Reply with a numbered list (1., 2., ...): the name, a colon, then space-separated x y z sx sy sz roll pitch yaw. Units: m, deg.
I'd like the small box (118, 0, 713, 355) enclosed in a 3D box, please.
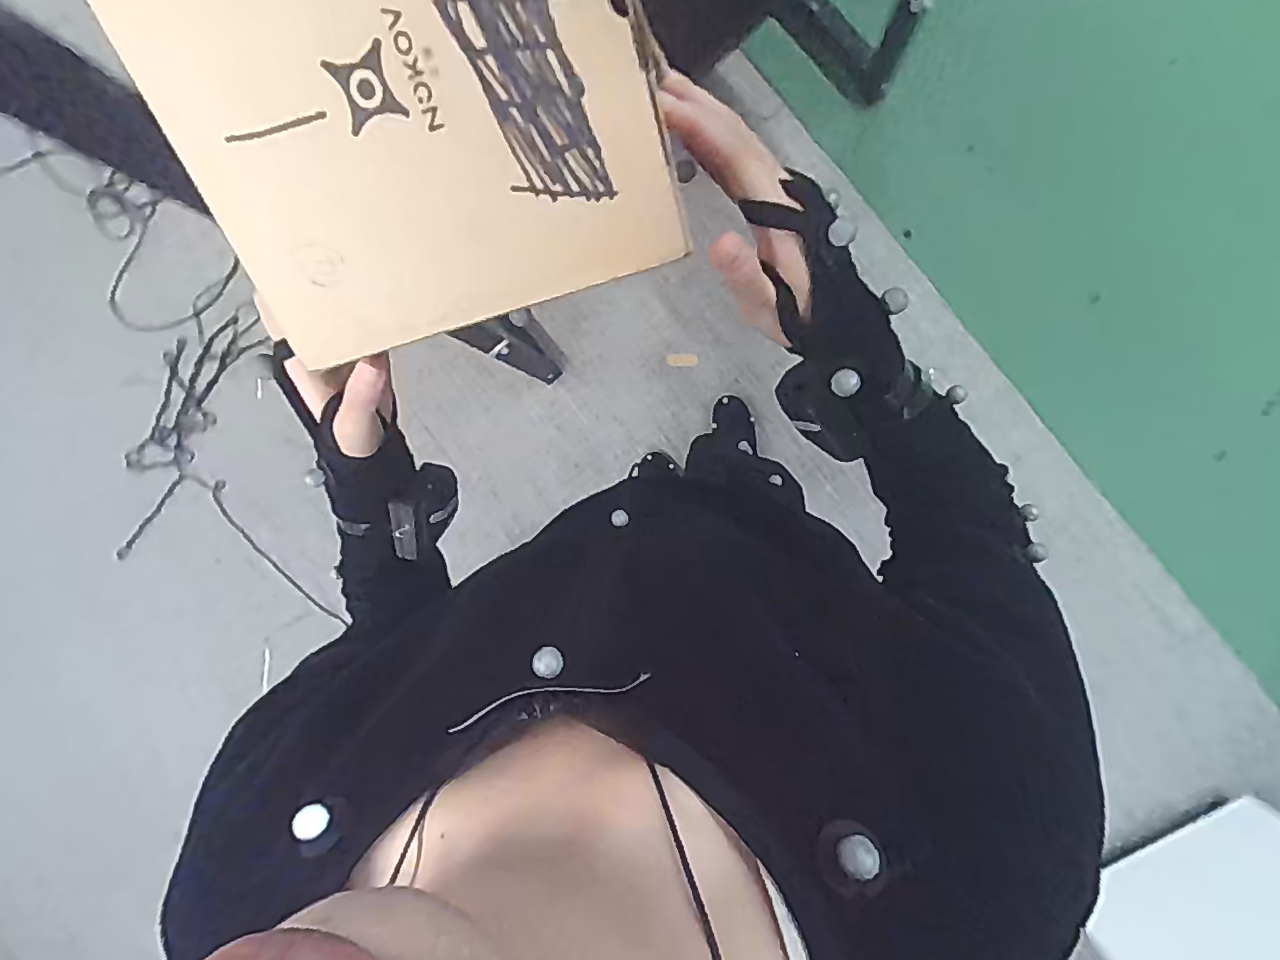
1. small box: -0.073 -0.177 0.251 0.179 0.176 0.168 -12 116 10
